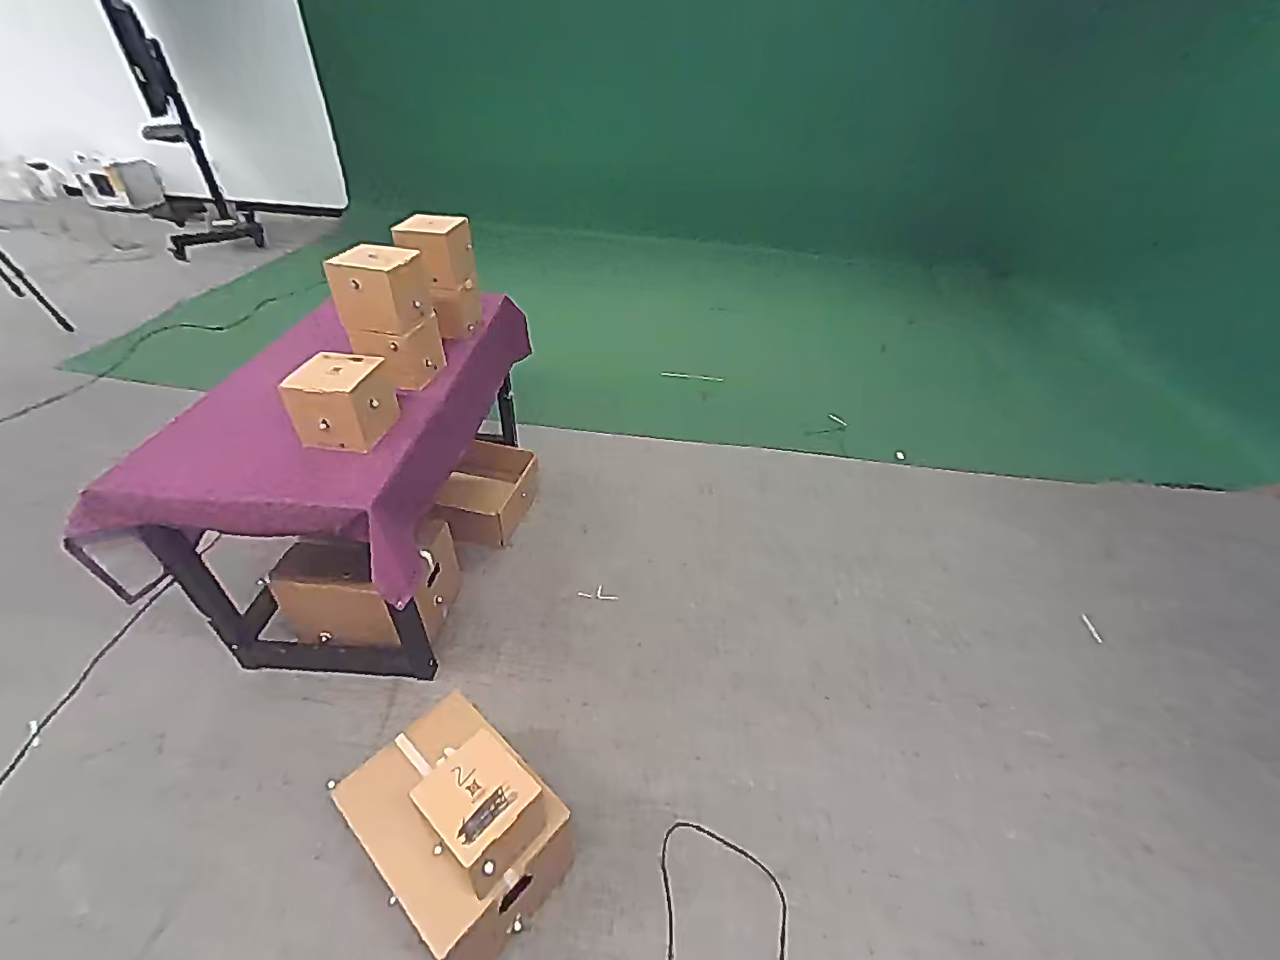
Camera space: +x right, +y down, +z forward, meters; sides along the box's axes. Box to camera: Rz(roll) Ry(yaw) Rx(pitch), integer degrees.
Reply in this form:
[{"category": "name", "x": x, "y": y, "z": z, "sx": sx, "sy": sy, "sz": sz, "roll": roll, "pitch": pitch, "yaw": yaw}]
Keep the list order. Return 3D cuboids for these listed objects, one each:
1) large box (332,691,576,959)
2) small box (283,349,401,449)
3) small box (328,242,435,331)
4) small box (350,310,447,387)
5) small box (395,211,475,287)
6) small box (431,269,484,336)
[{"category": "large box", "x": -0.392, "y": 0.773, "z": 1.204, "sx": 0.408, "sy": 0.320, "sz": 0.320, "roll": 30, "pitch": 46, "yaw": 29}, {"category": "small box", "x": -0.701, "y": -0.193, "z": 1.298, "sx": 0.168, "sy": 0.176, "sz": 0.179, "roll": 7, "pitch": 41, "yaw": 3}, {"category": "small box", "x": -0.671, "y": -0.509, "z": 1.423, "sx": 0.179, "sy": 0.176, "sz": 0.168, "roll": 11, "pitch": 41, "yaw": 7}, {"category": "small box", "x": -0.672, "y": -0.381, "z": 1.528, "sx": 0.179, "sy": 0.176, "sz": 0.168, "roll": 10, "pitch": 41, "yaw": 6}, {"category": "small box", "x": -0.621, "y": -0.713, "z": 1.669, "sx": 0.168, "sy": 0.176, "sz": 0.179, "roll": 6, "pitch": 41, "yaw": 5}, {"category": "small box", "x": -0.627, "y": -0.586, "z": 1.770, "sx": 0.179, "sy": 0.176, "sz": 0.168, "roll": 6, "pitch": 40, "yaw": 4}]
